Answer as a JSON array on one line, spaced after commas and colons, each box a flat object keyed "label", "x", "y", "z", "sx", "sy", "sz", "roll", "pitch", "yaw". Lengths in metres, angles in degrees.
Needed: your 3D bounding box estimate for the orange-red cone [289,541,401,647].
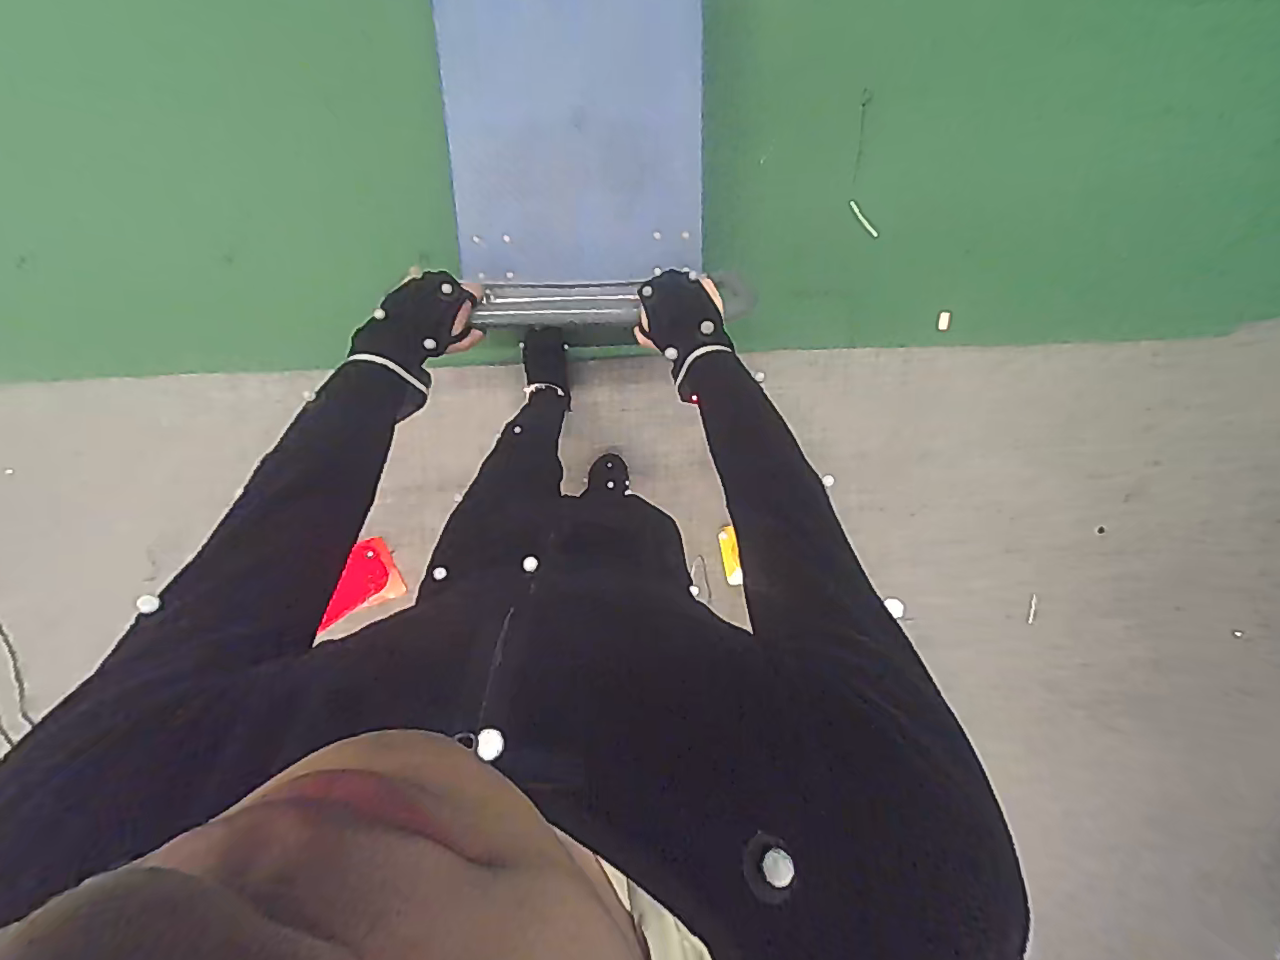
[{"label": "orange-red cone", "x": -0.821, "y": 0.334, "z": 1.441, "sx": 0.199, "sy": 0.360, "sz": 0.198, "roll": -17, "pitch": 105, "yaw": 1}]
